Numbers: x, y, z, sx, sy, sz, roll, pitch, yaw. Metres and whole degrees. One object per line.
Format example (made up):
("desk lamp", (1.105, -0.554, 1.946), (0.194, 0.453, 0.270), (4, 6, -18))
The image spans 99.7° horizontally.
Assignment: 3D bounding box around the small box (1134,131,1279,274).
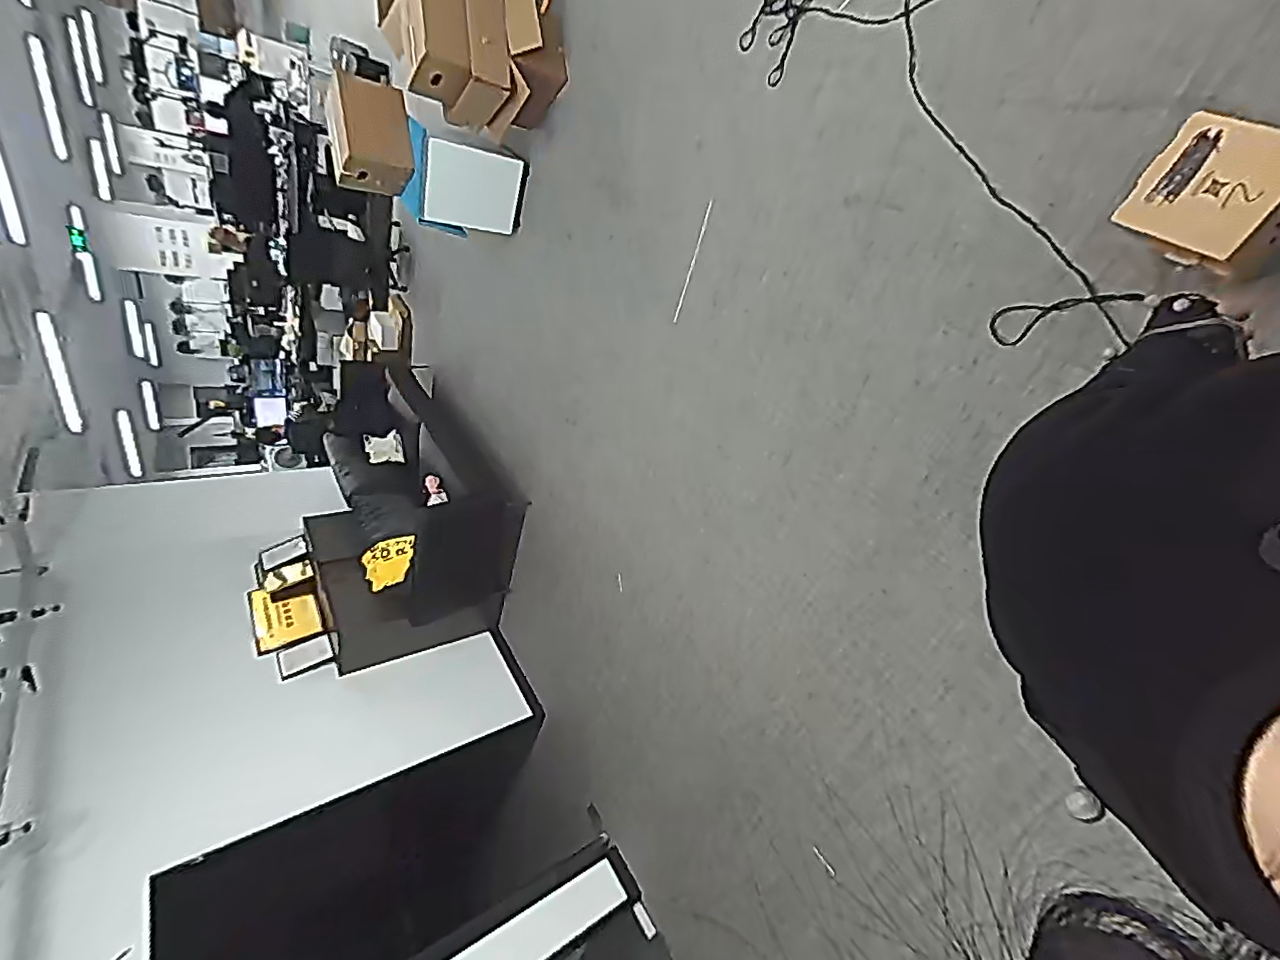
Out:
("small box", (1.057, -0.487, 0.966), (0.168, 0.176, 0.179), (50, 133, 34))
